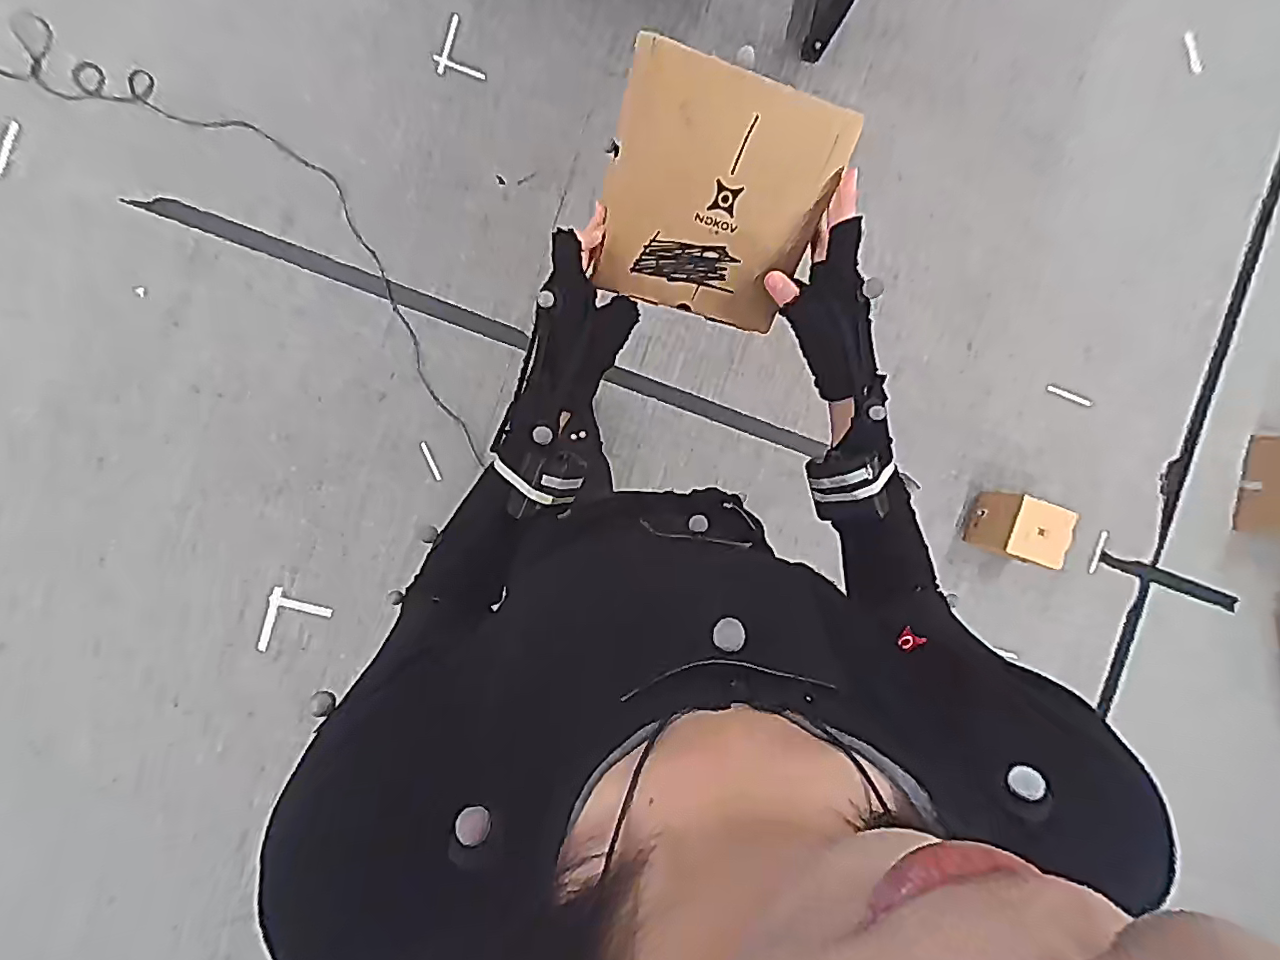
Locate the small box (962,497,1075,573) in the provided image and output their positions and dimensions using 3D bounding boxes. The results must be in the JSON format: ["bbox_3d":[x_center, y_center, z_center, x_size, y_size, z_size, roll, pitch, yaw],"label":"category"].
[{"bbox_3d":[1.077,0.150,1.548,0.179,0.176,0.168,19,89,-6],"label":"small box"}]

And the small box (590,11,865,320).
[{"bbox_3d":[0.057,-0.275,0.481,0.168,0.176,0.179,11,128,-14],"label":"small box"}]
